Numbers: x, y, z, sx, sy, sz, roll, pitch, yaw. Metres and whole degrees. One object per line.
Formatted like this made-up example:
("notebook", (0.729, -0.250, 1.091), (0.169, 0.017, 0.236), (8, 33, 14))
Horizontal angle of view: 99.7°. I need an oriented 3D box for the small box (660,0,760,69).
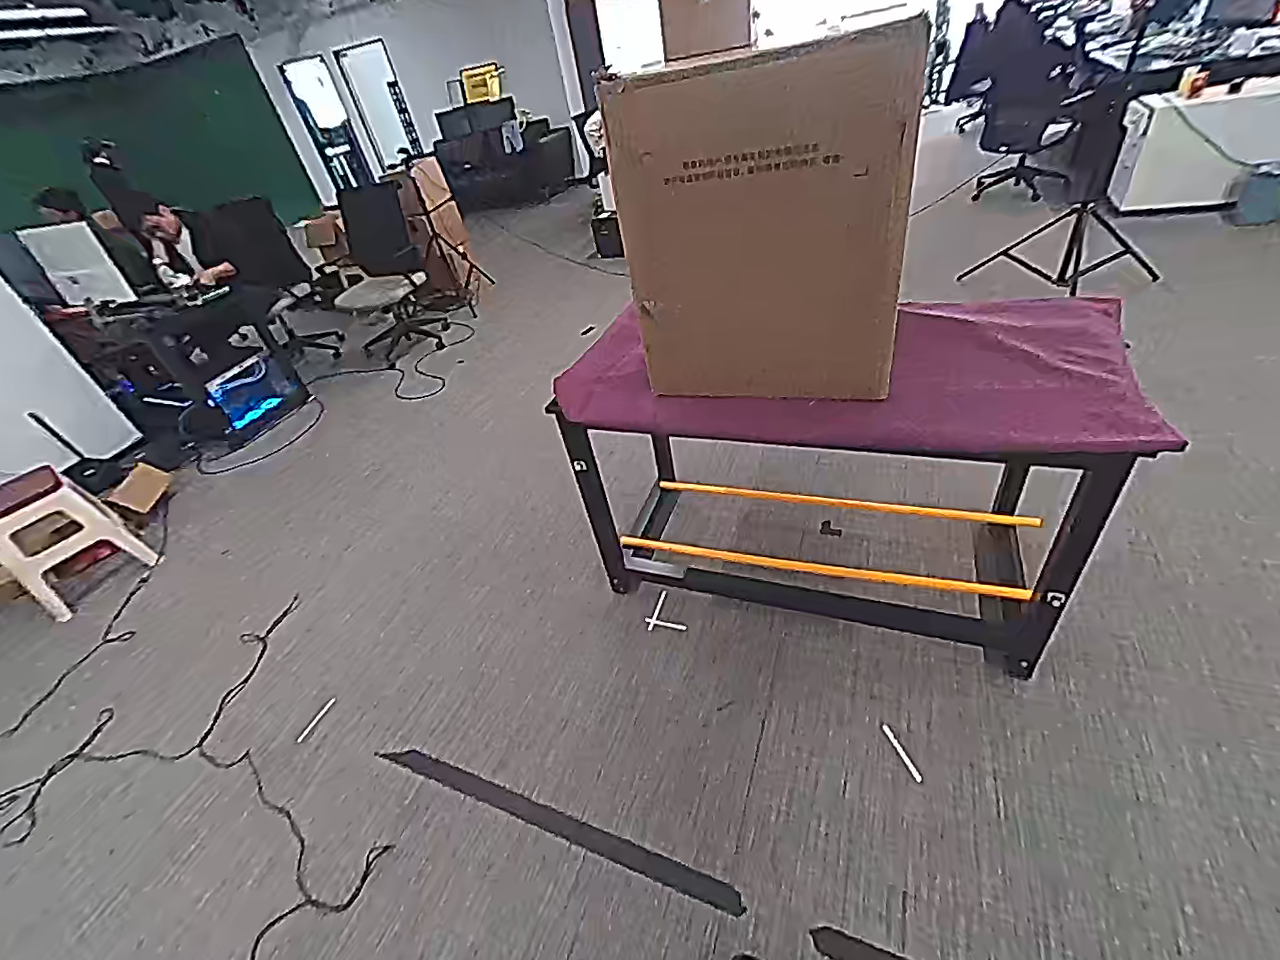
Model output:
("small box", (0.133, -0.898, 1.014), (0.168, 0.176, 0.179), (3, 41, 17))
